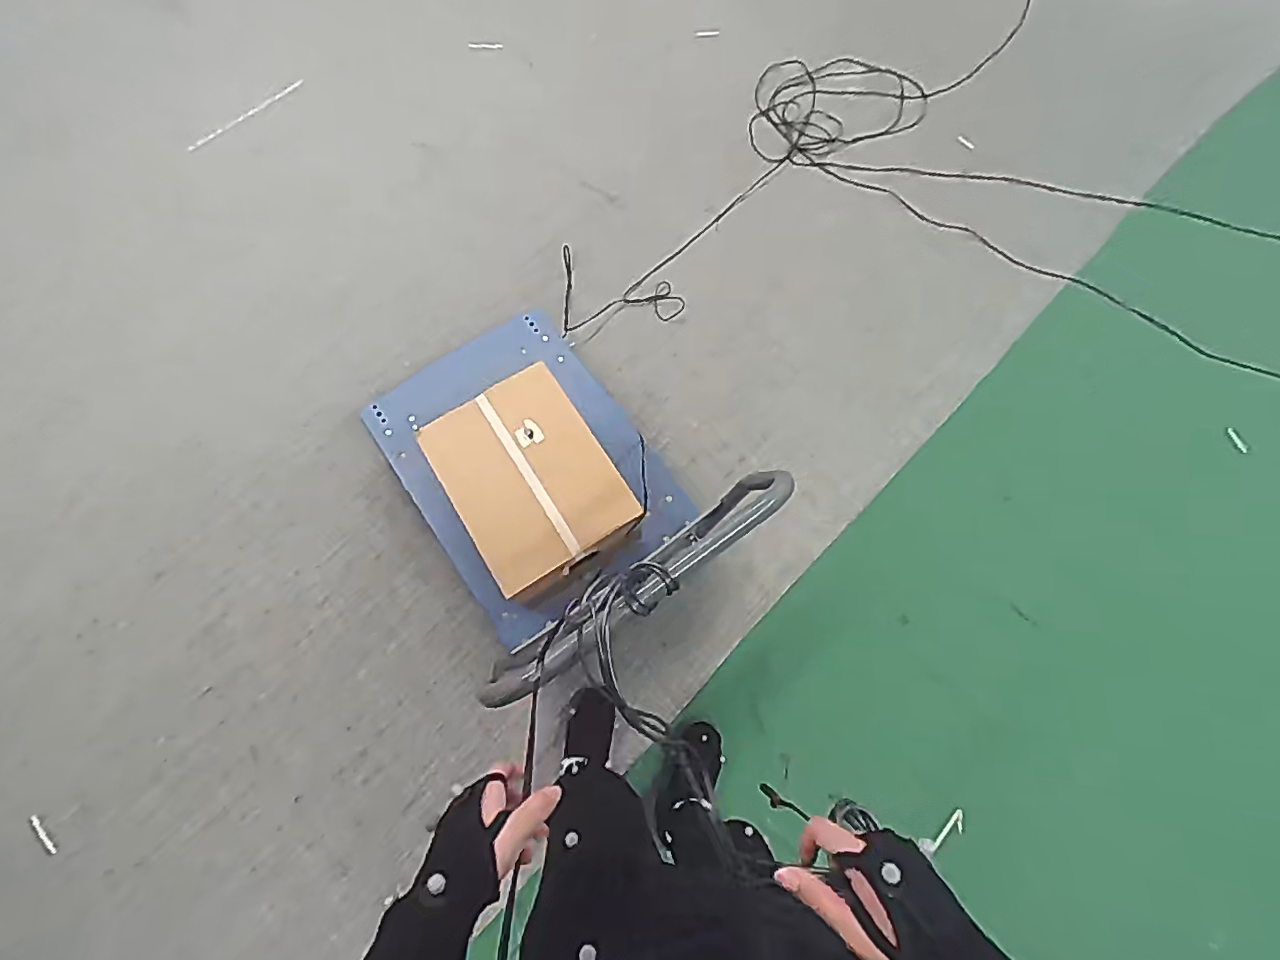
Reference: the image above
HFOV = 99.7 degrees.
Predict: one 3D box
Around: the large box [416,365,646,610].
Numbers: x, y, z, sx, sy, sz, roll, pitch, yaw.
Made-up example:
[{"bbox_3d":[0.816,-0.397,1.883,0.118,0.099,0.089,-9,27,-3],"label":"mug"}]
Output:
[{"bbox_3d":[-0.220,0.033,1.215,0.320,0.320,0.408,-32,75,-10],"label":"large box"}]
